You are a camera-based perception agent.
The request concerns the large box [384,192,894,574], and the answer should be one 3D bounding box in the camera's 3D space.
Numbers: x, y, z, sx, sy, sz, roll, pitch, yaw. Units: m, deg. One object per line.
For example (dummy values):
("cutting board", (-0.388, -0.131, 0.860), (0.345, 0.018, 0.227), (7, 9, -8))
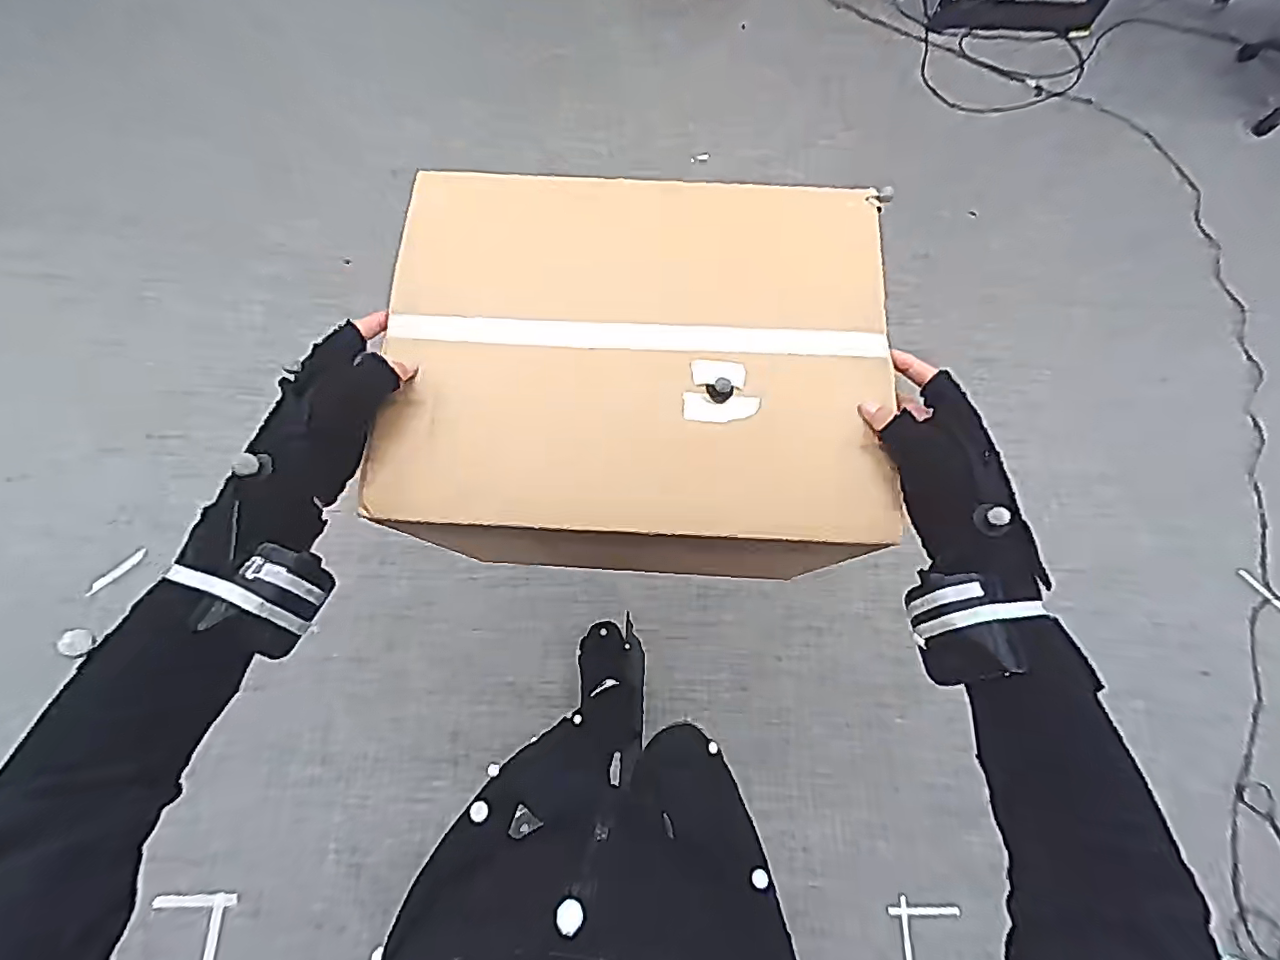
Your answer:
("large box", (0.001, -0.070, 0.598), (0.408, 0.320, 0.320), (3, 76, 0))
